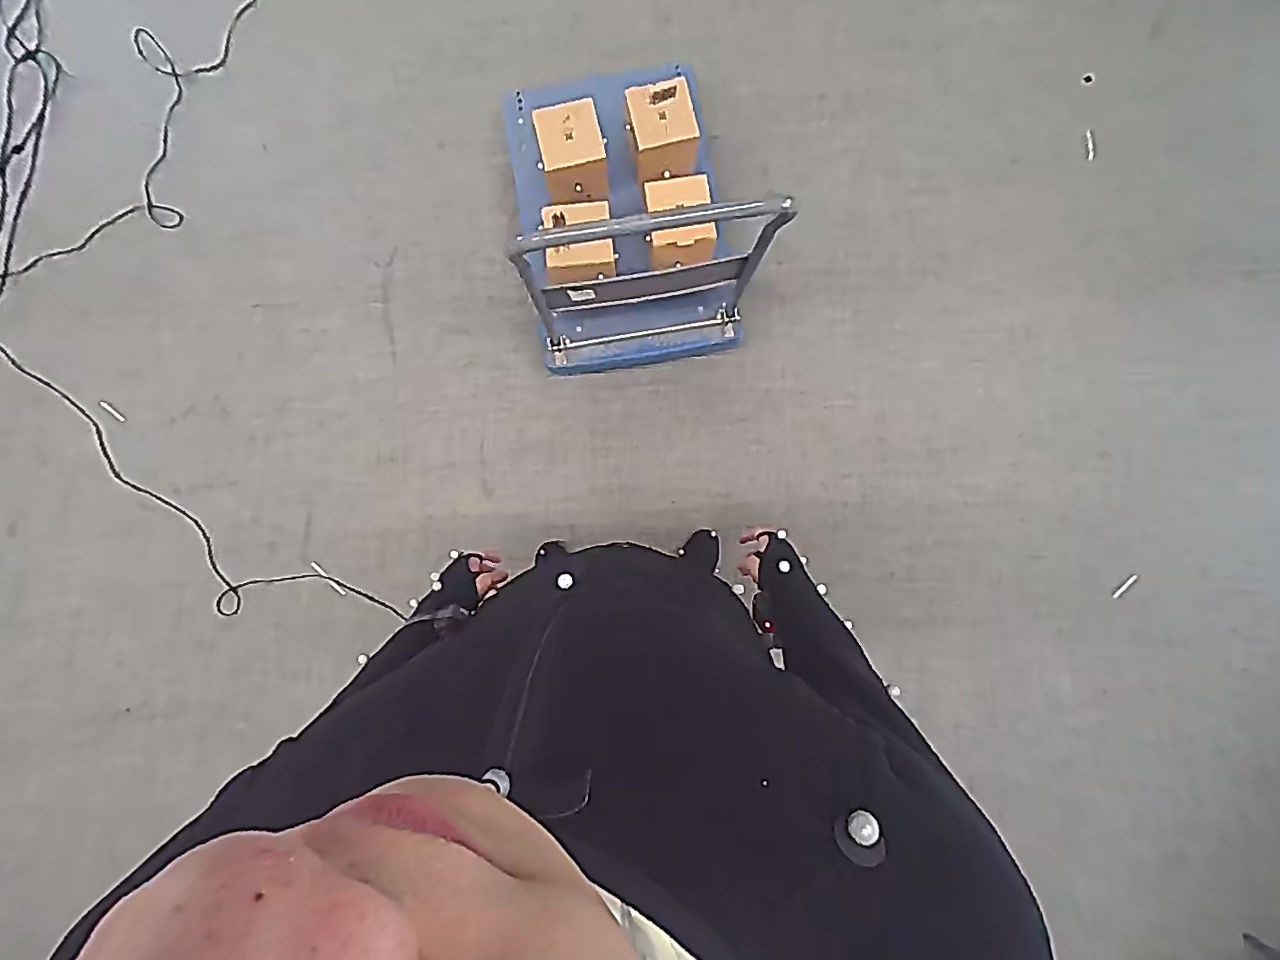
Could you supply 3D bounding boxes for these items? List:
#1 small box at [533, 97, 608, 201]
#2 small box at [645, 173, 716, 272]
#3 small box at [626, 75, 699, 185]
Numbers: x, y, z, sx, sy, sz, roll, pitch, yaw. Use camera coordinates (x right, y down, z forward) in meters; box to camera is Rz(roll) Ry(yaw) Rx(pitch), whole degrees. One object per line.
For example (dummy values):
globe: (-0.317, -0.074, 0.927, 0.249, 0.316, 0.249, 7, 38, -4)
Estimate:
small box: (-0.186, -0.906, 1.501, 0.168, 0.176, 0.179, -13, 85, -1)
small box: (0.105, -0.700, 1.481, 0.168, 0.176, 0.179, -9, 85, 0)
small box: (0.058, -0.966, 1.503, 0.168, 0.176, 0.179, -13, 86, 0)
